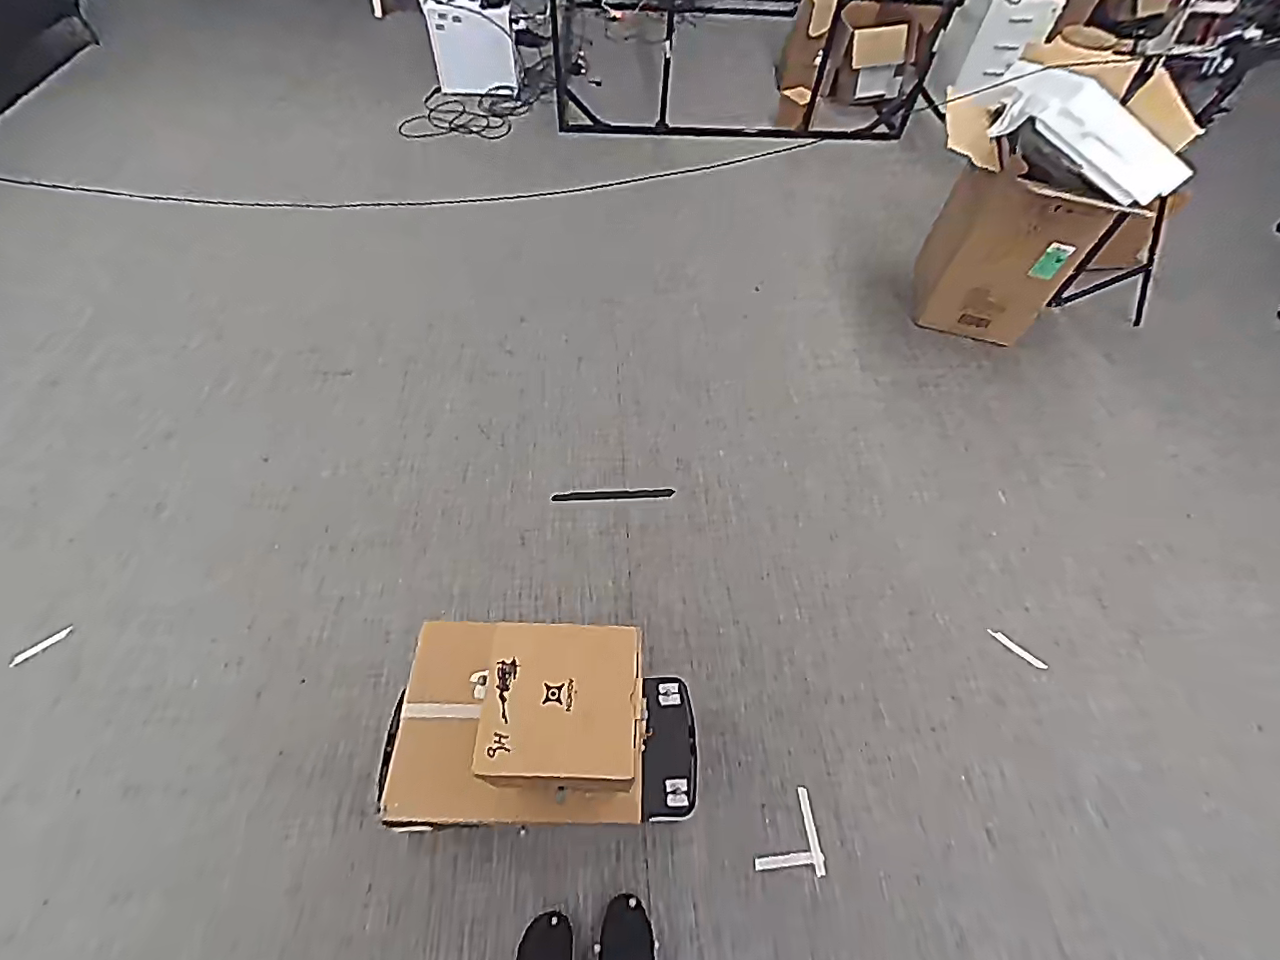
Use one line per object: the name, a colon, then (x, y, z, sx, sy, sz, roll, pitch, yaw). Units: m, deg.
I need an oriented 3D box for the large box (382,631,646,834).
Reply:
large box: (-0.196, 0.486, 1.024, 0.408, 0.320, 0.320, 1, 55, -1)

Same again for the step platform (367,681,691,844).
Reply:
step platform: (-0.227, 0.629, 1.213, 0.684, 0.204, 0.286, 3, 56, 0)

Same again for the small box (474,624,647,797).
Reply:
small box: (-0.087, 0.290, 0.669, 0.179, 0.176, 0.168, 3, 55, -2)
